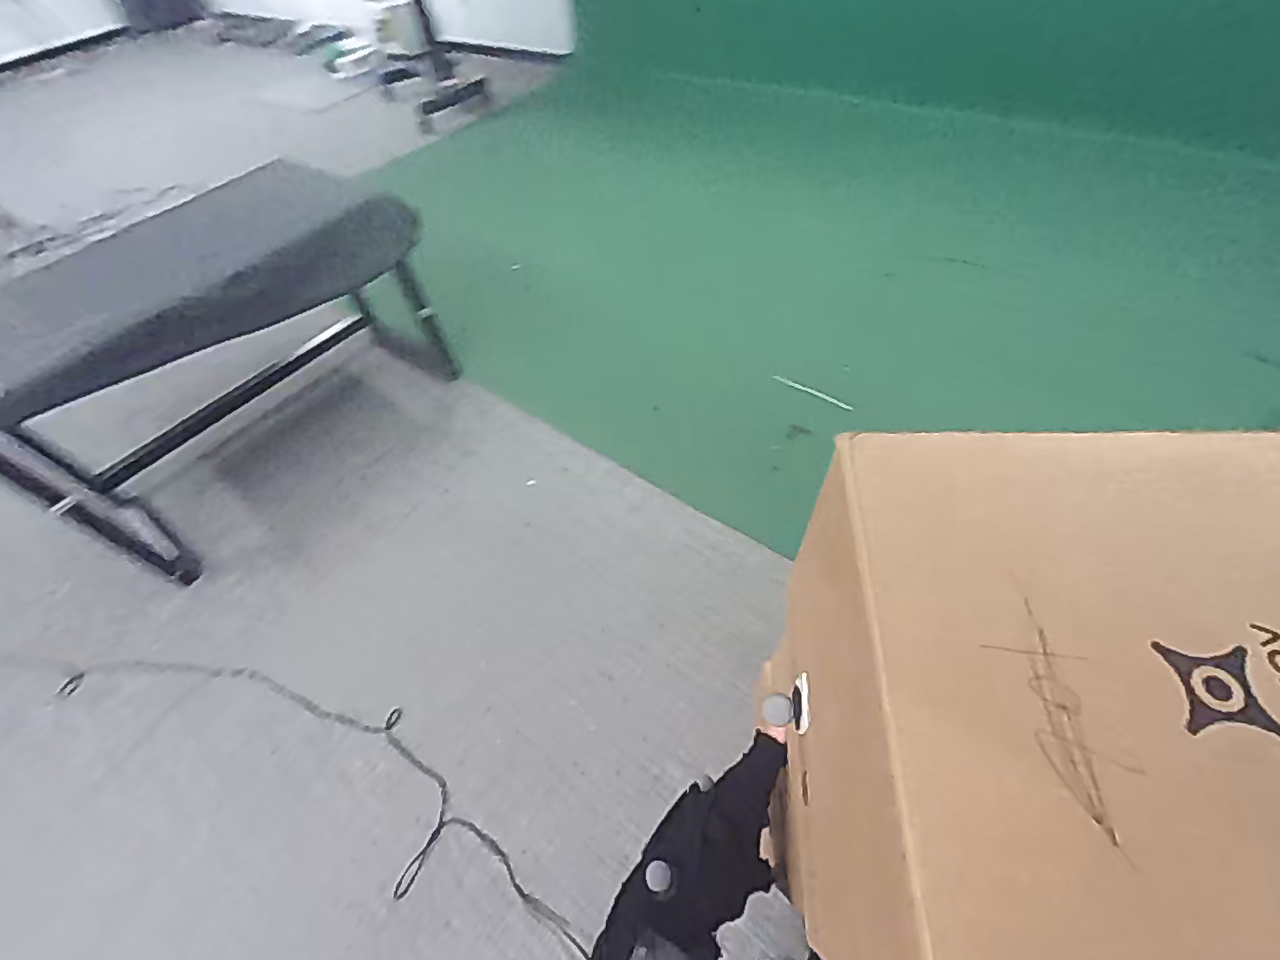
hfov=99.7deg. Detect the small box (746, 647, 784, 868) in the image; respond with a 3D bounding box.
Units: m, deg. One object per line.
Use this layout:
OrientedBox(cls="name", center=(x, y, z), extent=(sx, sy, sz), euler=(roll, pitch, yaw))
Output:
OrientedBox(cls="small box", center=(0.193, 0.258, 0.492), extent=(0.179, 0.176, 0.168), euler=(1, 57, 7))
